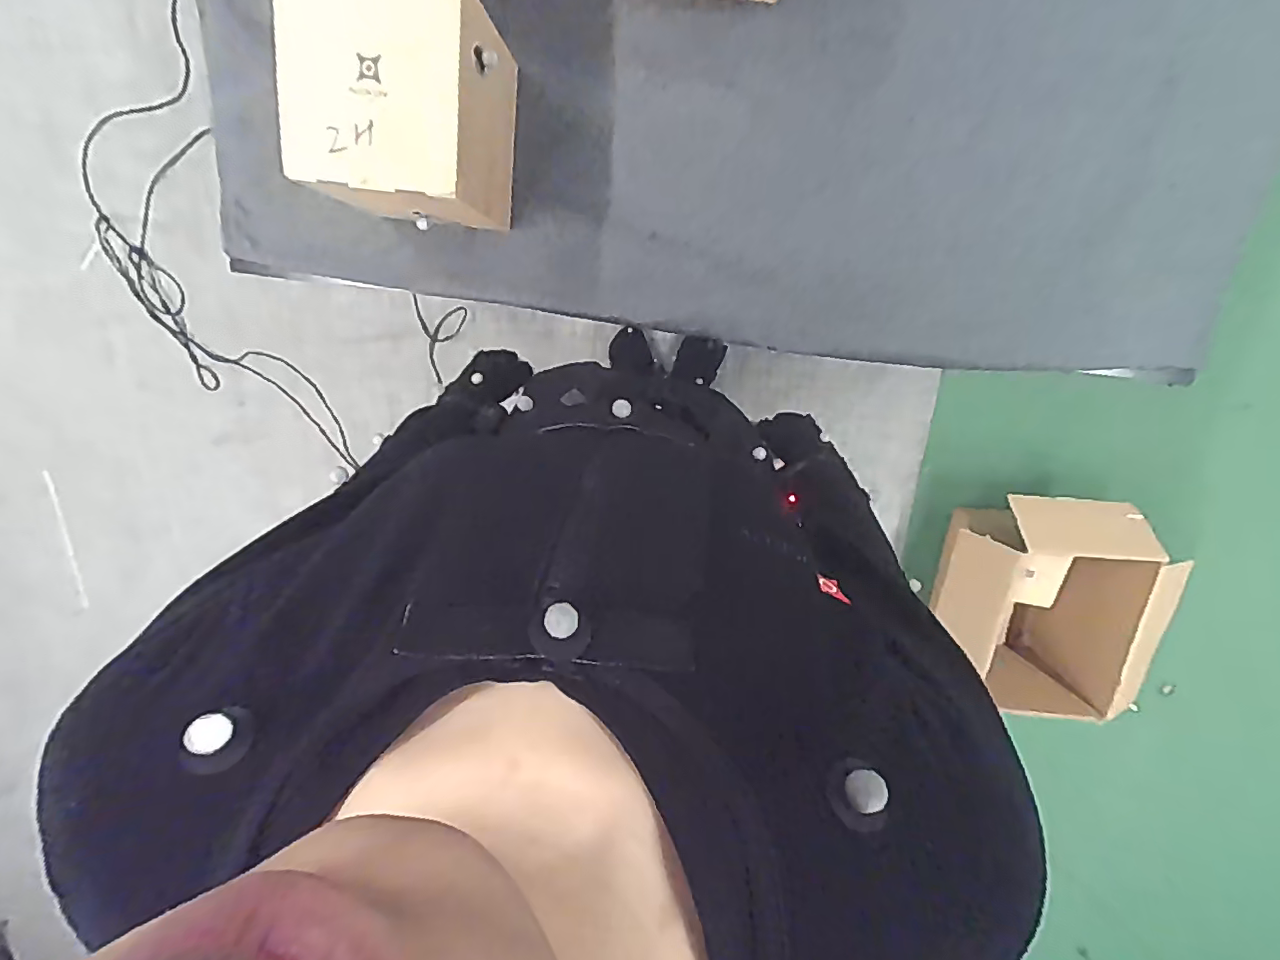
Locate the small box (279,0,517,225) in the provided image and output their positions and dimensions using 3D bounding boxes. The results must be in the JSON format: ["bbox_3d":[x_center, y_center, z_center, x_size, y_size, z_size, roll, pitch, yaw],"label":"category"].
[{"bbox_3d":[-0.229,-0.377,0.552,0.168,0.176,0.179,7,107,2],"label":"small box"}]
